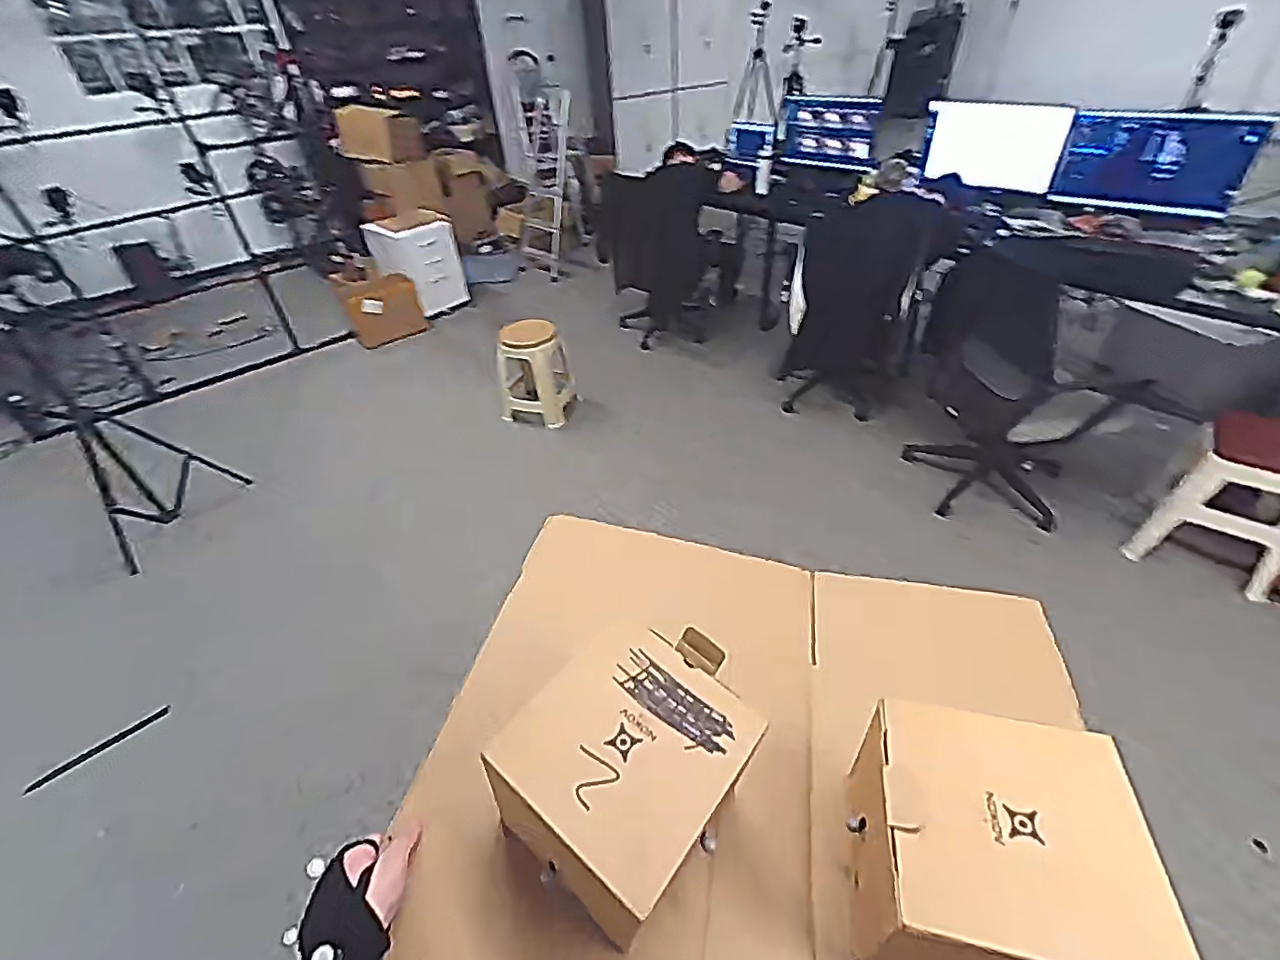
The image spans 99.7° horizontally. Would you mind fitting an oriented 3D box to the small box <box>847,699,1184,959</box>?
[{"bbox_3d":[0.285,0.318,0.462,0.179,0.176,0.168,5,41,13],"label":"small box"}]
